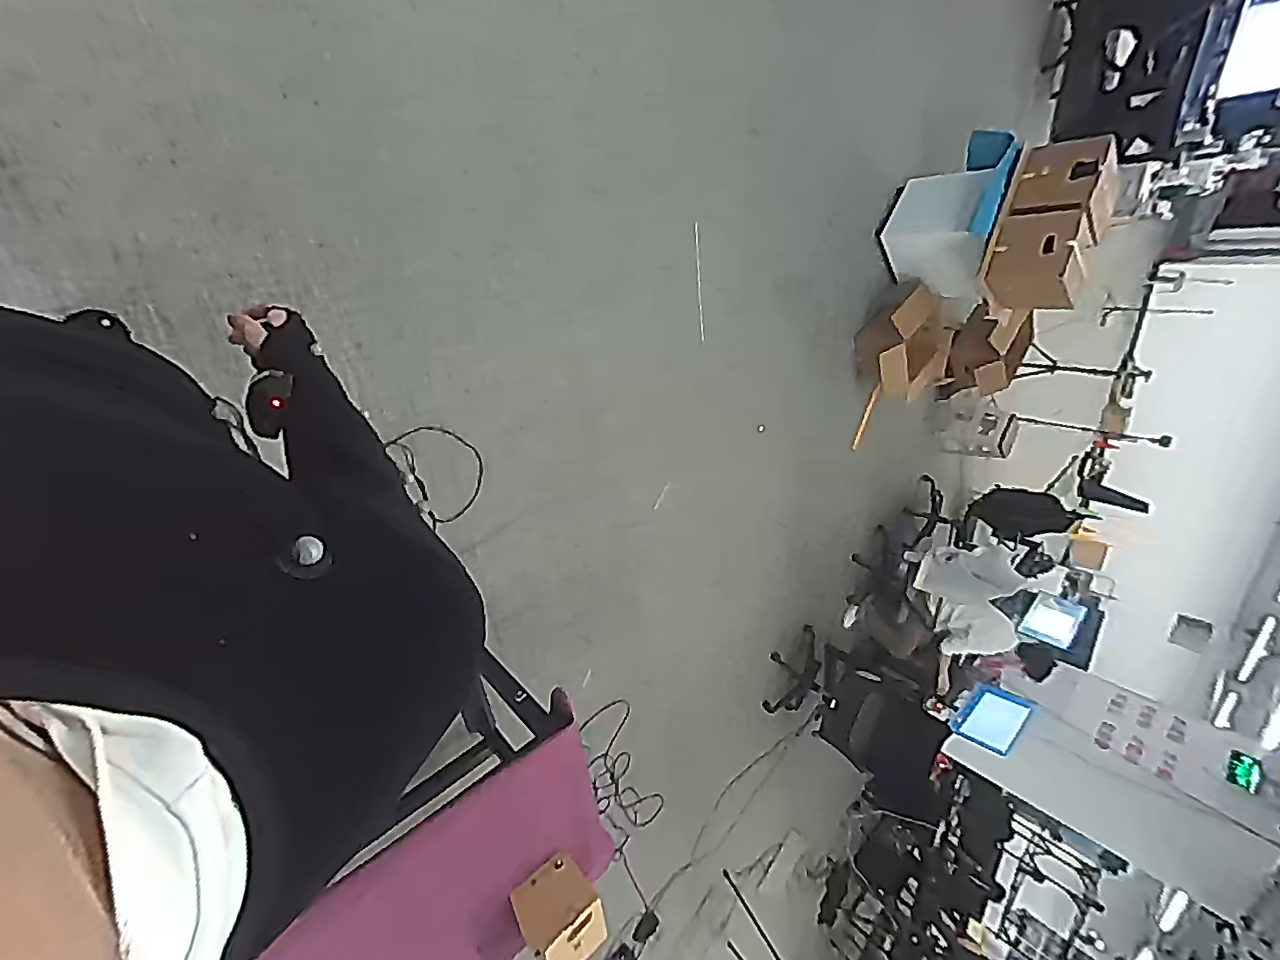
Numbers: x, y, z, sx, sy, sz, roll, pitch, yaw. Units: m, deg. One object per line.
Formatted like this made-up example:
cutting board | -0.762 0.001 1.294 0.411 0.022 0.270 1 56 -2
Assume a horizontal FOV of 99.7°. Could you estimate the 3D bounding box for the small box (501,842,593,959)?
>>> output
small box | -0.246 1.101 1.417 0.168 0.176 0.179 -24 121 -36
